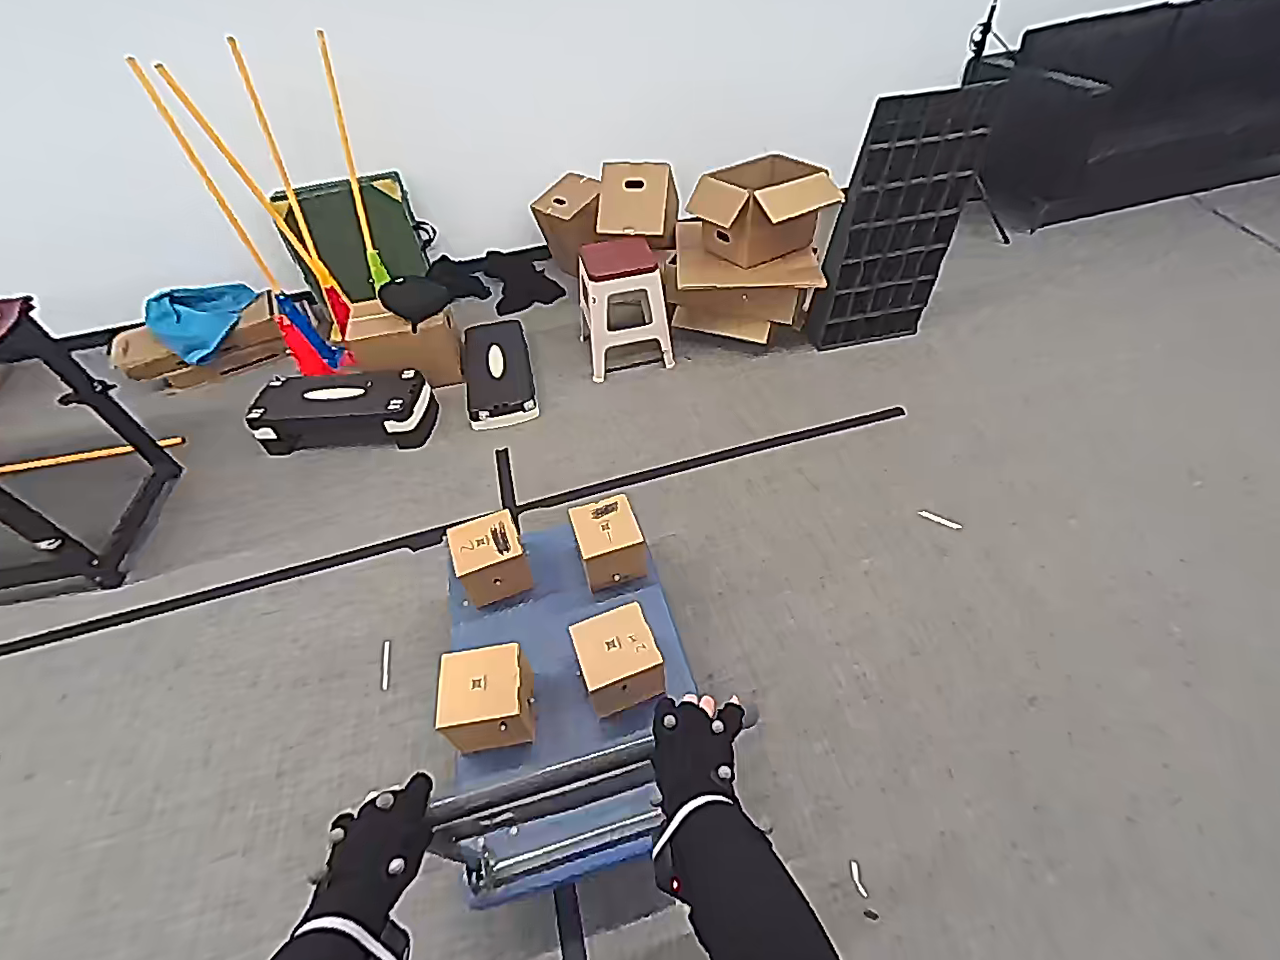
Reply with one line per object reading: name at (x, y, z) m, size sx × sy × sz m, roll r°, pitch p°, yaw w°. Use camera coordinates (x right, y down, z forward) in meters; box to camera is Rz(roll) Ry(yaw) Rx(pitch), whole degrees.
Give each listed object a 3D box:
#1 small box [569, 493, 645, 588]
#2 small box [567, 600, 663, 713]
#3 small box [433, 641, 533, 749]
small box at (-0.091, 0.168, 1.494) m, size 0.168 × 0.176 × 0.179 m, roll -16°, pitch 50°, yaw -10°
small box at (-0.055, 0.418, 1.266) m, size 0.179 × 0.176 × 0.168 m, roll -18°, pitch 49°, yaw -11°
small box at (-0.347, 0.489, 1.225) m, size 0.179 × 0.176 × 0.168 m, roll -8°, pitch 48°, yaw -5°
